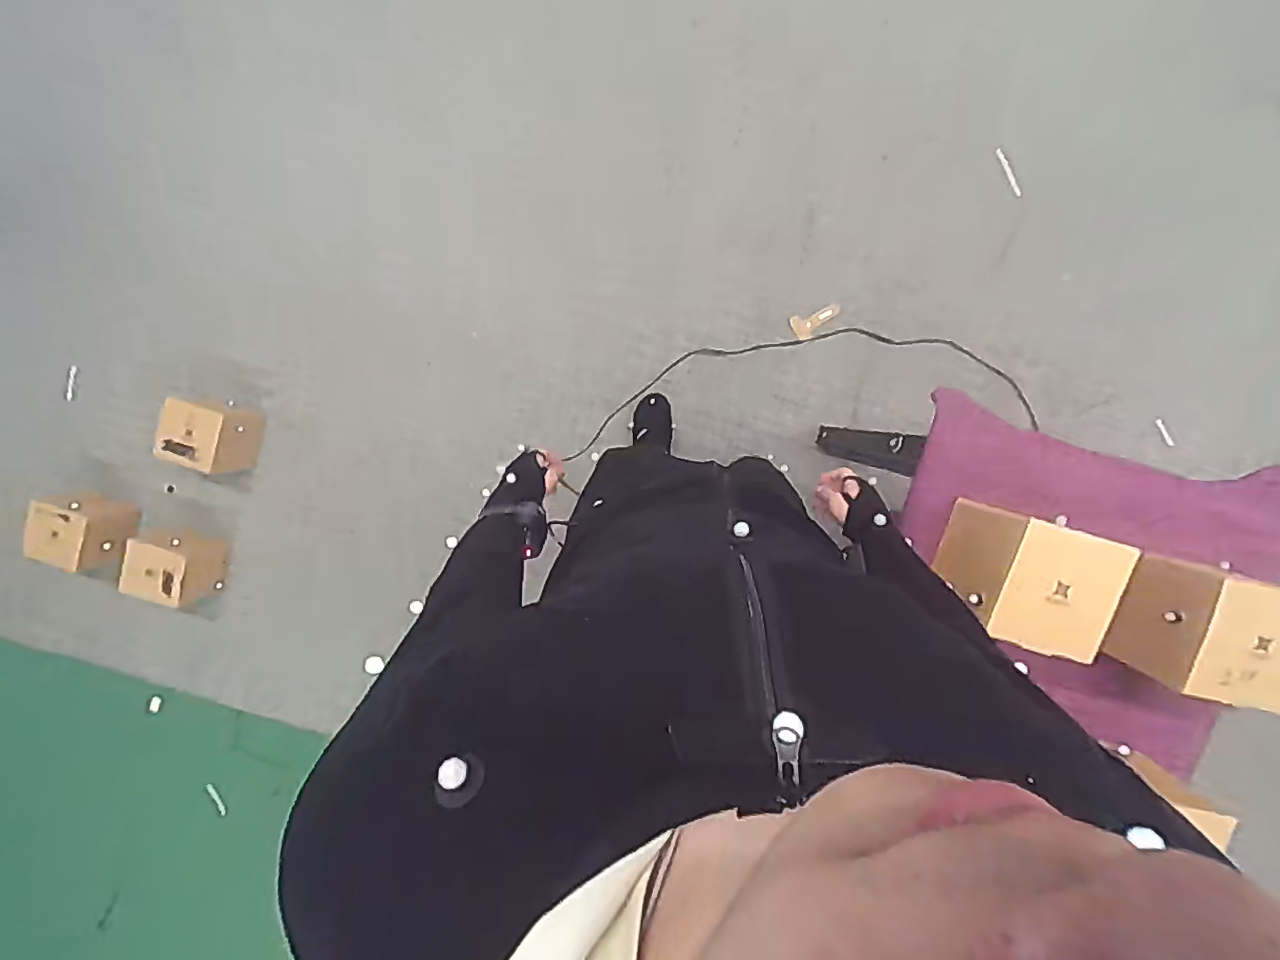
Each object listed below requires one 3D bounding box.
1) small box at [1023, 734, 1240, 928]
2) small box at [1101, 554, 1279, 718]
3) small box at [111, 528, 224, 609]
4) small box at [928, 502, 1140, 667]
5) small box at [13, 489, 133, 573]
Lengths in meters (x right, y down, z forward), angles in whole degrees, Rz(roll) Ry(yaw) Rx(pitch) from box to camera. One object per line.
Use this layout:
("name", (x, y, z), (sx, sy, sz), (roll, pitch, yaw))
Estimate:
("small box", (0.761, 0.546, 0.862), (0.168, 0.176, 0.179), (14, 97, -1))
("small box", (0.851, 0.224, 0.817), (0.168, 0.176, 0.179), (13, 97, 0))
("small box", (-1.373, 0.251, 1.584), (0.179, 0.176, 0.168), (18, 97, -1))
("small box", (0.571, 0.144, 0.812), (0.168, 0.176, 0.179), (16, 98, -3))
("small box", (-1.642, 0.142, 1.575), (0.168, 0.176, 0.179), (20, 98, -2))
